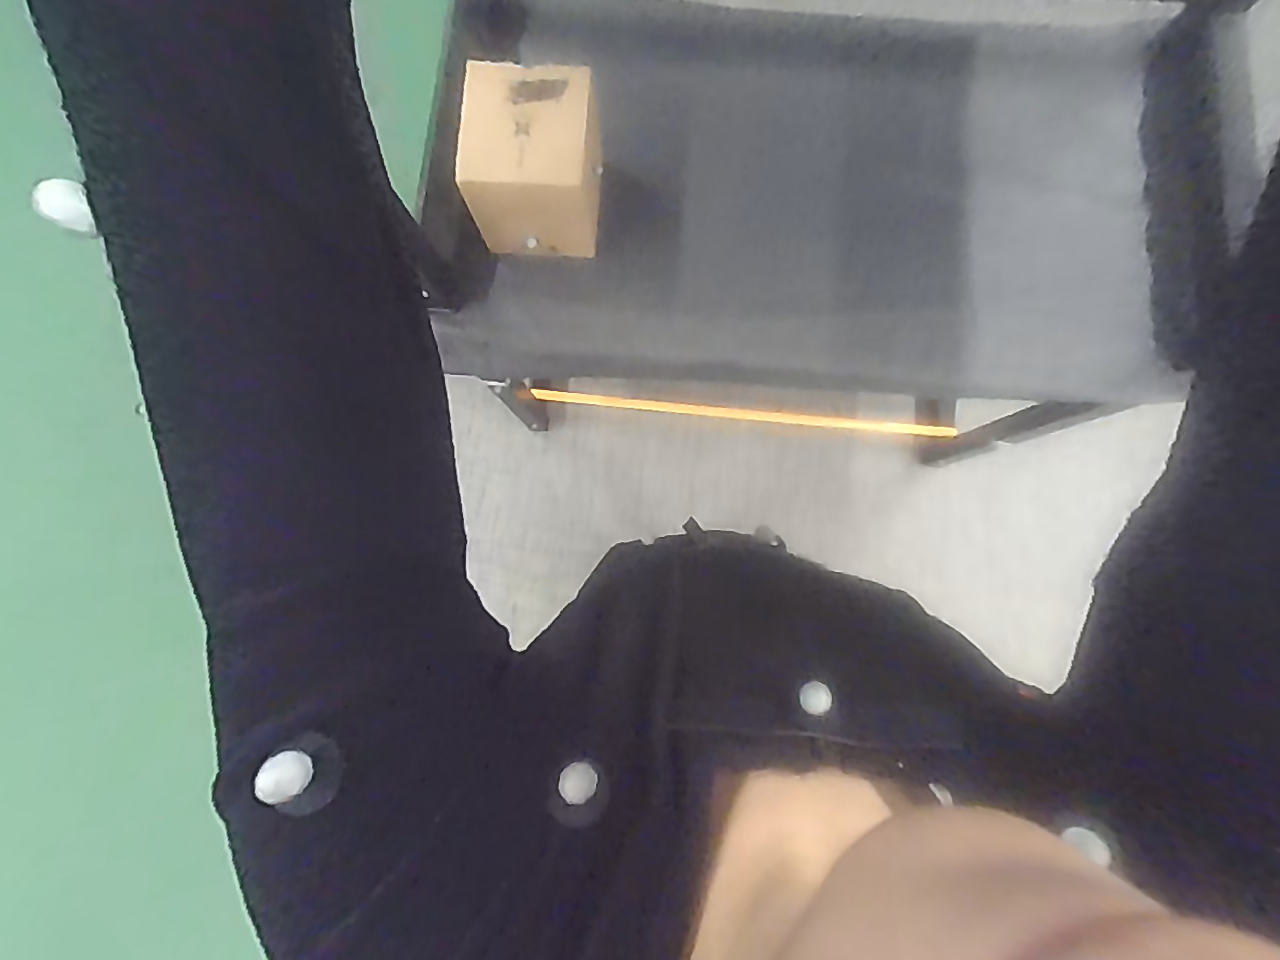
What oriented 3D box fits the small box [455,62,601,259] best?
[{"bbox_3d":[-0.148,-0.447,0.775,0.168,0.176,0.179,3,82,2],"label":"small box"}]
